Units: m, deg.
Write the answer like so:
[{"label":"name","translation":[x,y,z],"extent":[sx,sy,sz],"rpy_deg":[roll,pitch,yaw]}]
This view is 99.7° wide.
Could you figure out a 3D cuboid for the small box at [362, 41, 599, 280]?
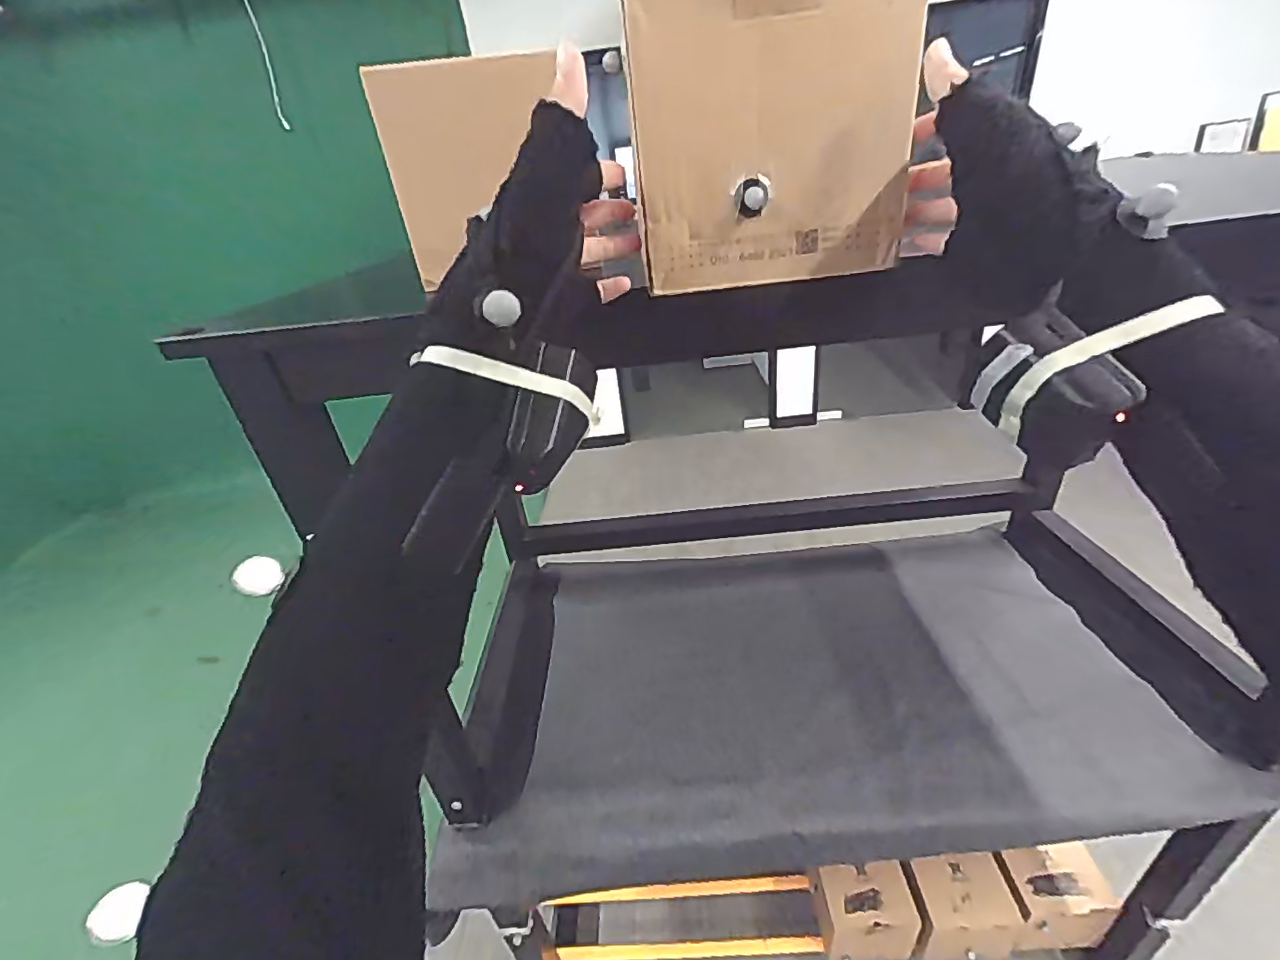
[{"label":"small box","translation":[-0.141,-0.302,0.532],"extent":[0.168,0.176,0.179],"rpy_deg":[-12,31,-7]}]

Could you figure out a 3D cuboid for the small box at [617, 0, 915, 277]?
[{"label":"small box","translation":[0.075,-0.253,0.398],"extent":[0.168,0.176,0.179],"rpy_deg":[-6,30,3]}]
